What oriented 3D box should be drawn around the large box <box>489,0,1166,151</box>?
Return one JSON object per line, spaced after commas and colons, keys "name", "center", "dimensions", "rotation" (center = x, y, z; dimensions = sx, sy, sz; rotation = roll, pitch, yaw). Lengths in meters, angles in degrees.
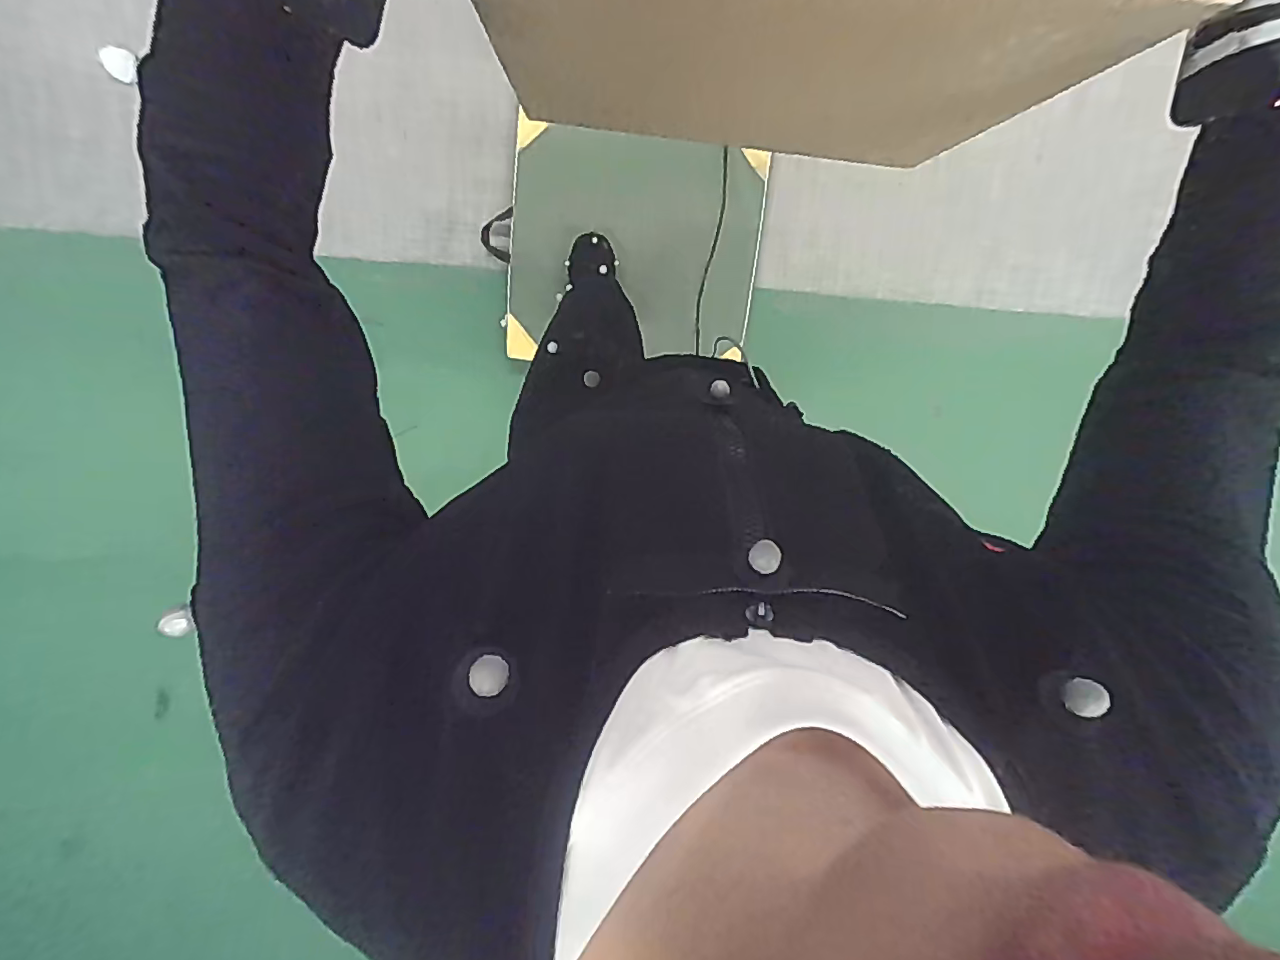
{"name": "large box", "center": [0.104, -0.455, 0.366], "dimensions": [0.408, 0.320, 0.320], "rotation": [4, 107, -5]}
